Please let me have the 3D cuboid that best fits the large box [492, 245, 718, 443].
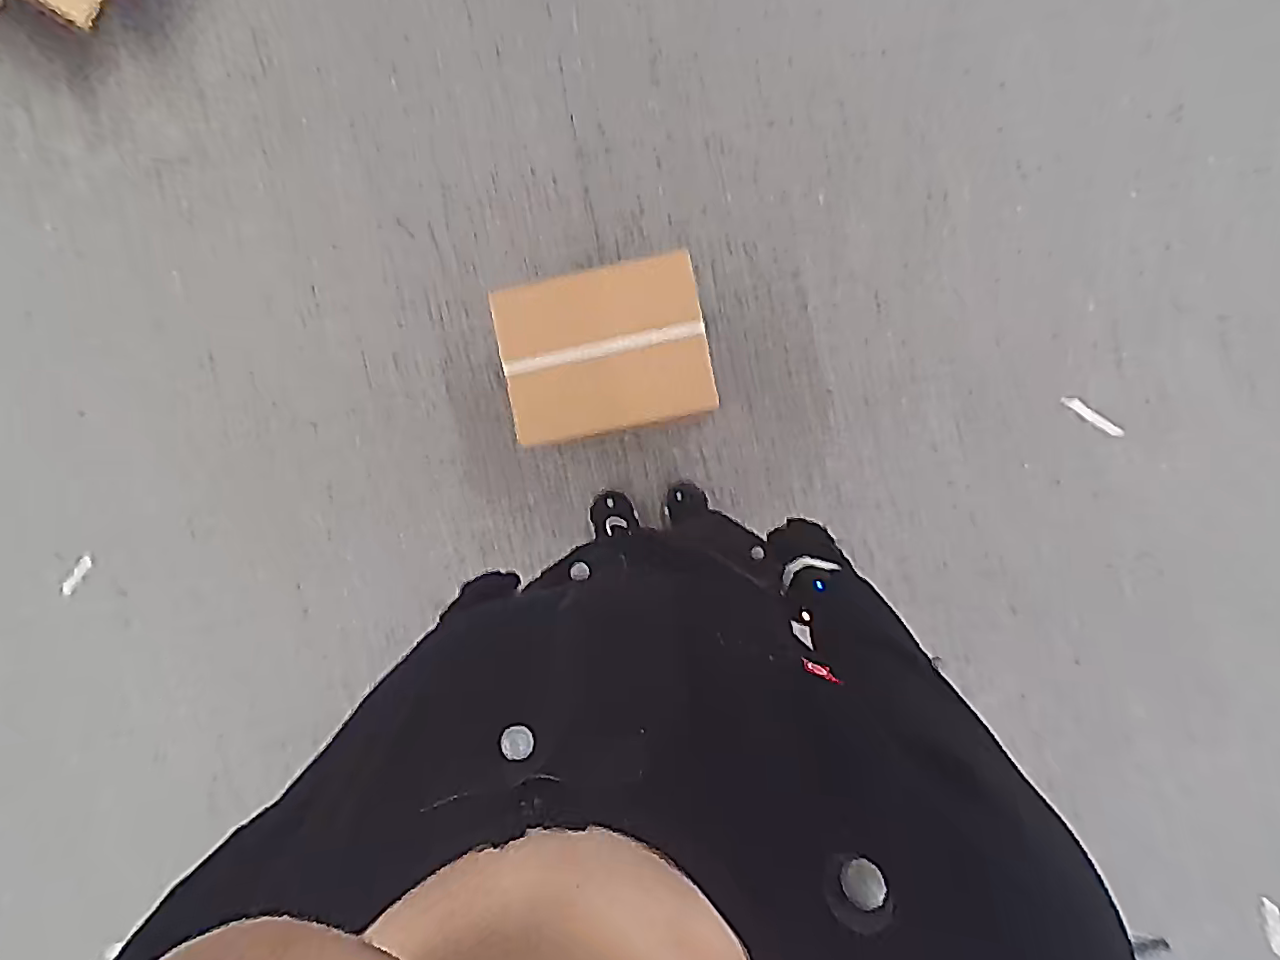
[{"bbox_3d":[-0.065,-0.275,1.211,0.408,0.320,0.320,-11,93,3],"label":"large box"}]
